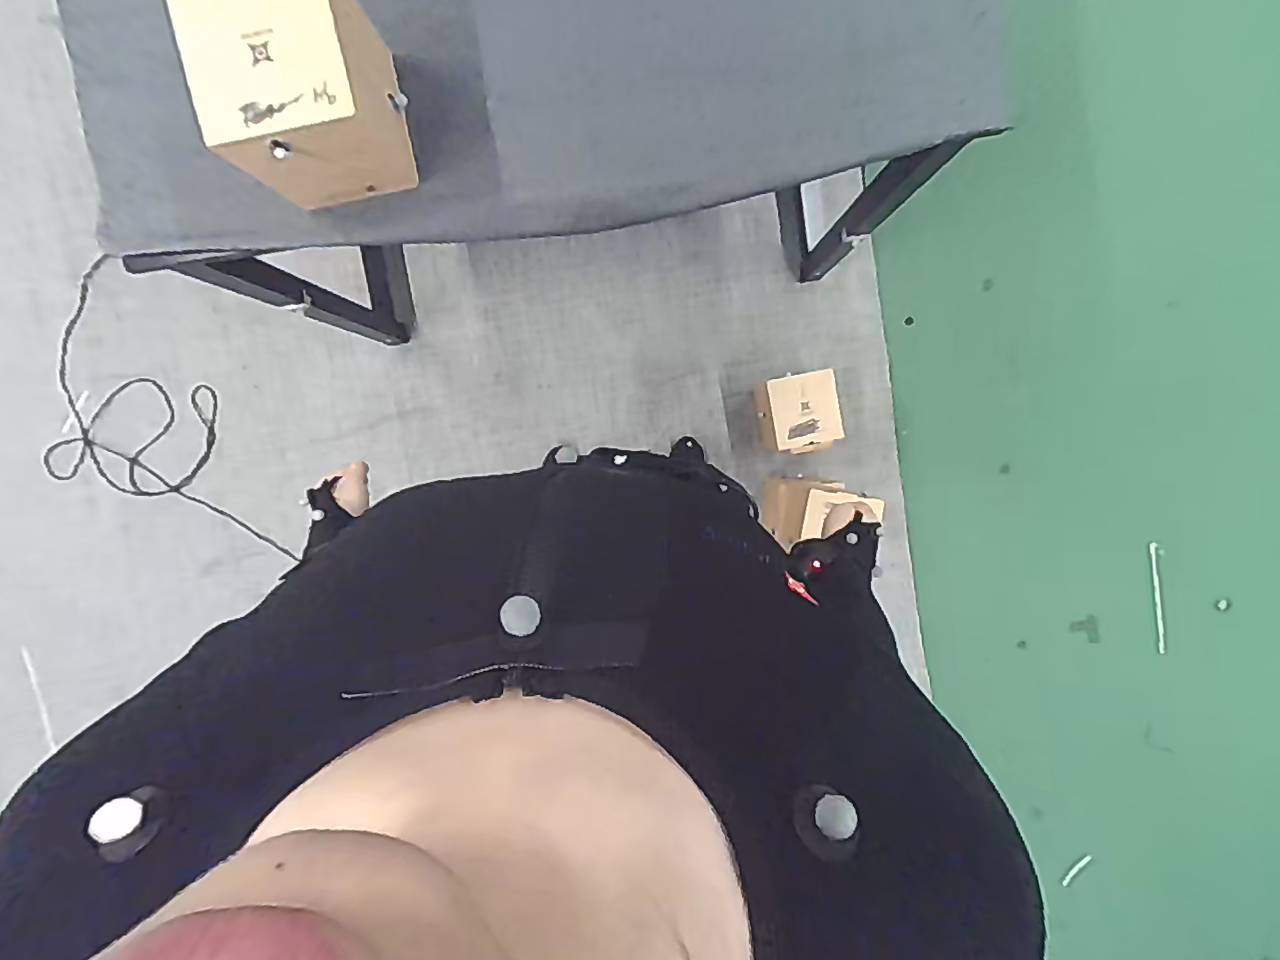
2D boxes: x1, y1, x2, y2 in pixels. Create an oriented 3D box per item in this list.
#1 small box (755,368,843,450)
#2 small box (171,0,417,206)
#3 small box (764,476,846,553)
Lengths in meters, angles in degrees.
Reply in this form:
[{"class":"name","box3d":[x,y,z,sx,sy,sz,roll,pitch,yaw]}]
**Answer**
[{"class":"small box","box3d":[0.400,-0.178,1.381,0.168,0.176,0.179,-10,94,2]},{"class":"small box","box3d":[-0.389,-0.458,0.636,0.168,0.176,0.179,-11,95,2]},{"class":"small box","box3d":[0.421,0.085,1.403,0.168,0.176,0.179,0,95,1]}]
